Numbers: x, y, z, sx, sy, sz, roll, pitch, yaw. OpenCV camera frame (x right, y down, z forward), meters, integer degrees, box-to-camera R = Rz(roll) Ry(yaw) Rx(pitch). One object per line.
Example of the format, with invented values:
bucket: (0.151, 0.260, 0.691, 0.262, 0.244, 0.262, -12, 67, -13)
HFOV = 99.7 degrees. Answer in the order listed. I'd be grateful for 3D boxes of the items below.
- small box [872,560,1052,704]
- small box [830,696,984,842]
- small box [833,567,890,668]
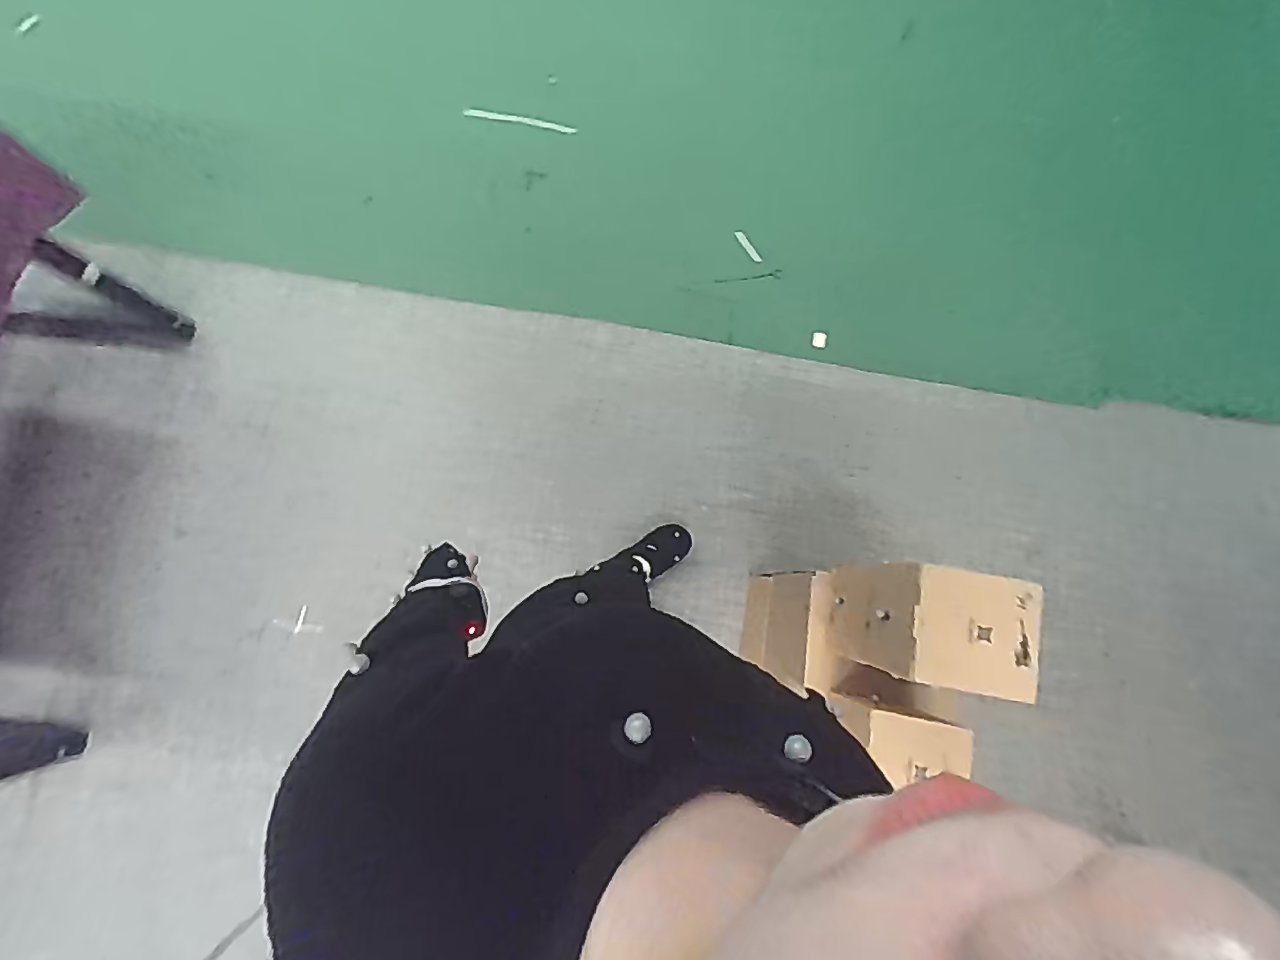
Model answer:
small box: (0.473, 0.221, 0.818, 0.179, 0.176, 0.168, 10, 80, 1)
small box: (0.449, 0.482, 0.931, 0.179, 0.176, 0.168, 13, 78, -1)
small box: (0.474, 0.252, 0.979, 0.179, 0.176, 0.168, 9, 80, 1)
